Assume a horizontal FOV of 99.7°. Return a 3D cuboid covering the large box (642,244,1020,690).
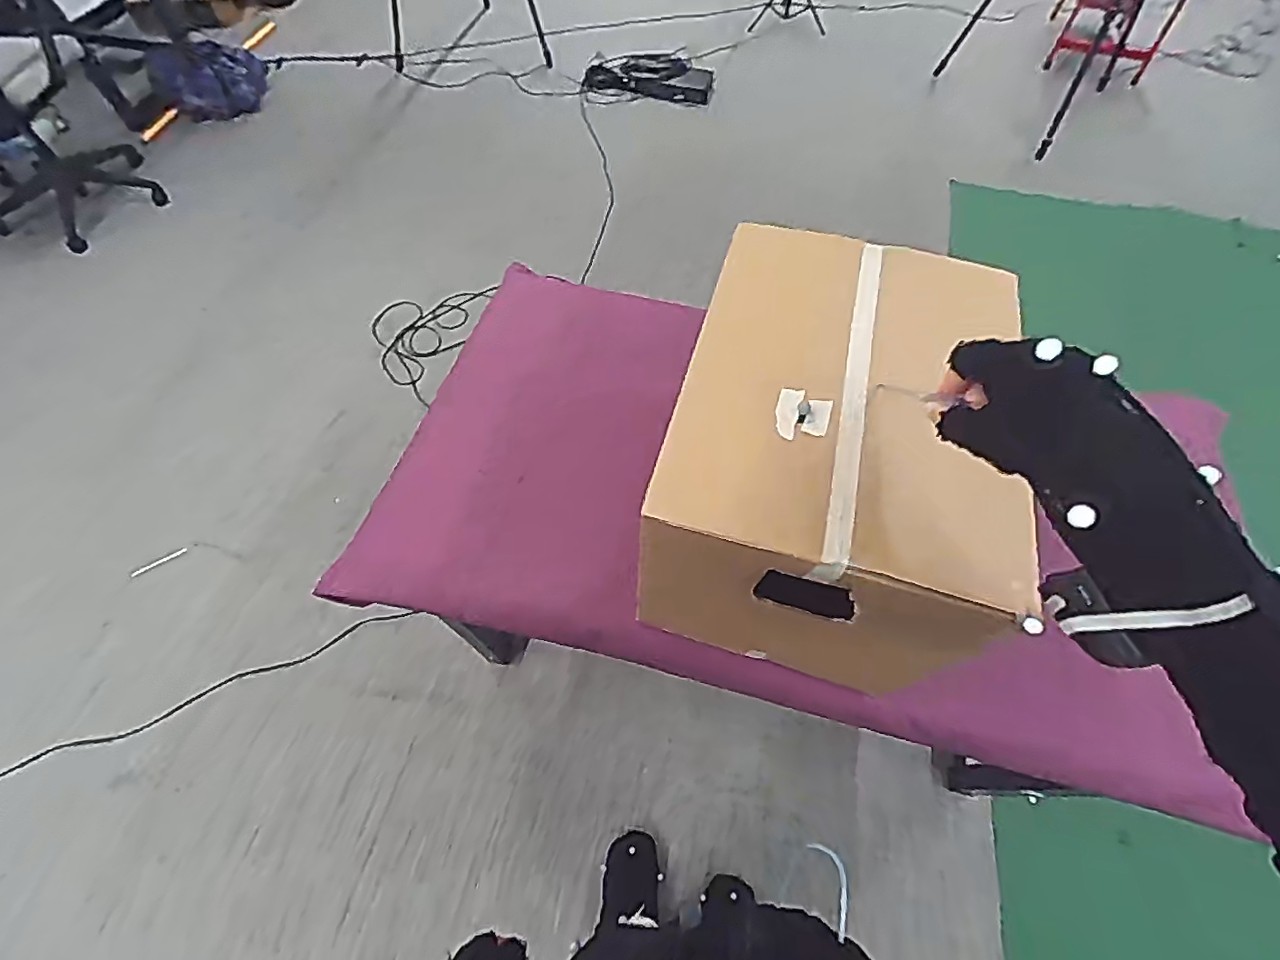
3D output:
[{"bbox_3d":[0.204,-0.009,0.666,0.320,0.320,0.408,15,61,8],"label":"large box"}]
